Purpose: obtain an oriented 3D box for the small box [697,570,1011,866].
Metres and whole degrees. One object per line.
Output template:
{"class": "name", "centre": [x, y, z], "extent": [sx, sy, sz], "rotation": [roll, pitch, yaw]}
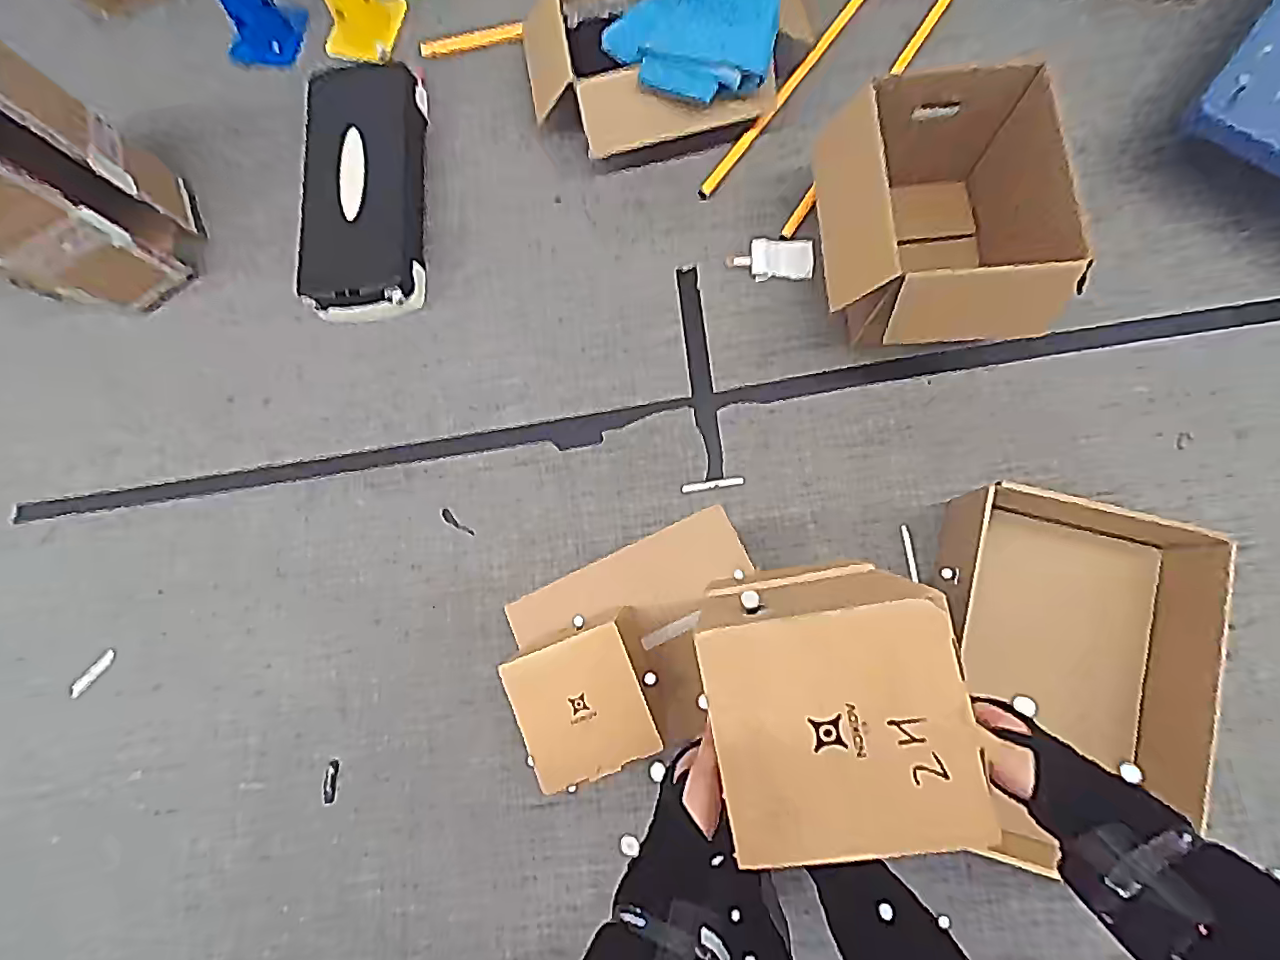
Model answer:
{"class": "small box", "centre": [0.151, 0.172, 0.439], "extent": [0.179, 0.176, 0.168], "rotation": [-11, 85, 8]}
